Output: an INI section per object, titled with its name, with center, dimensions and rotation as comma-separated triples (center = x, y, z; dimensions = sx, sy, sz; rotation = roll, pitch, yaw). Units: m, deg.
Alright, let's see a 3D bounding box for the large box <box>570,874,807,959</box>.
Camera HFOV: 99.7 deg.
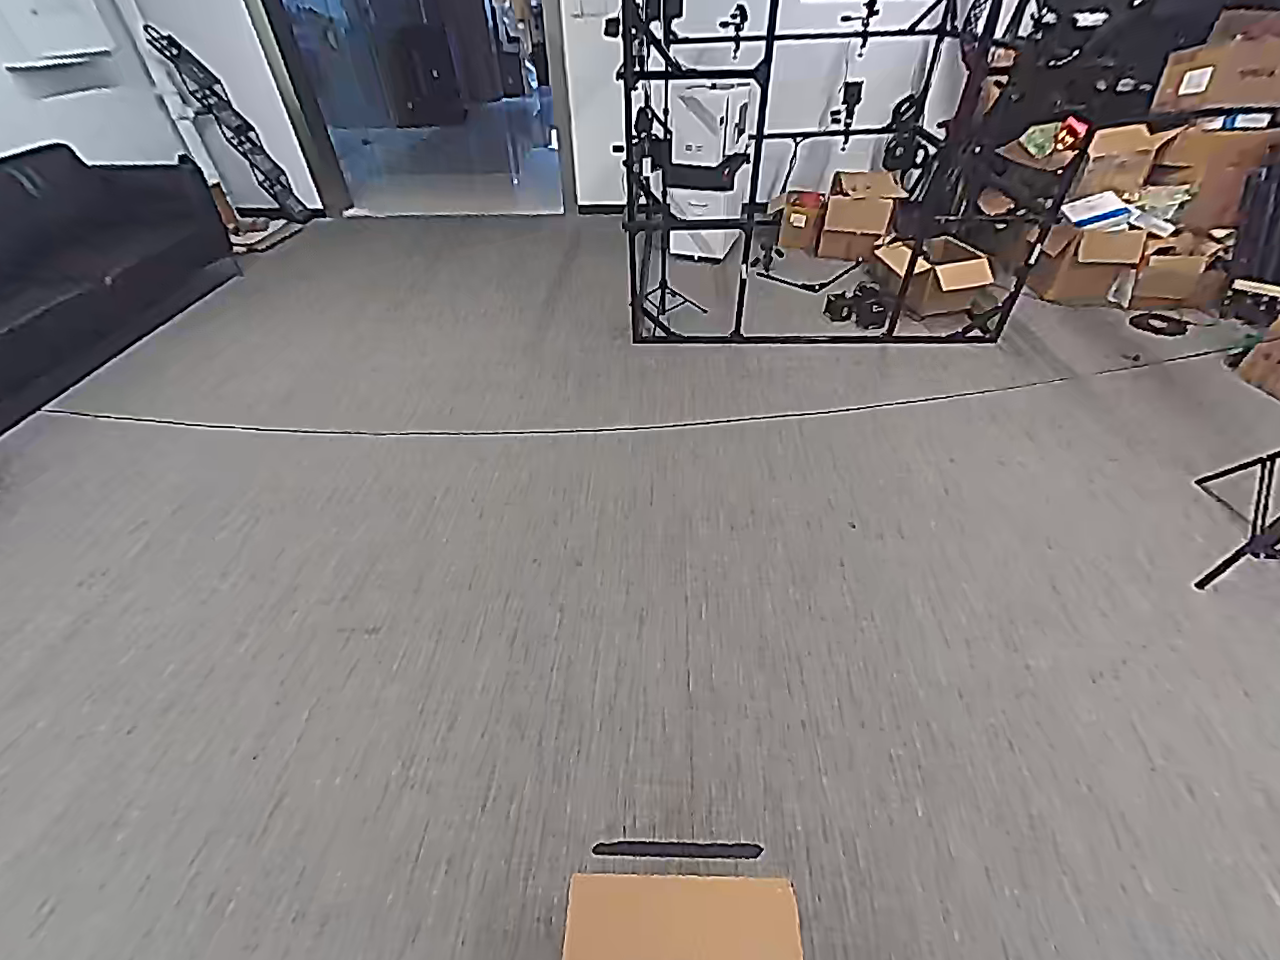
[large box]
center = 0.082, 0.941, 0.976
dimensions = 0.408, 0.320, 0.320
rotation = 0, 42, 2
